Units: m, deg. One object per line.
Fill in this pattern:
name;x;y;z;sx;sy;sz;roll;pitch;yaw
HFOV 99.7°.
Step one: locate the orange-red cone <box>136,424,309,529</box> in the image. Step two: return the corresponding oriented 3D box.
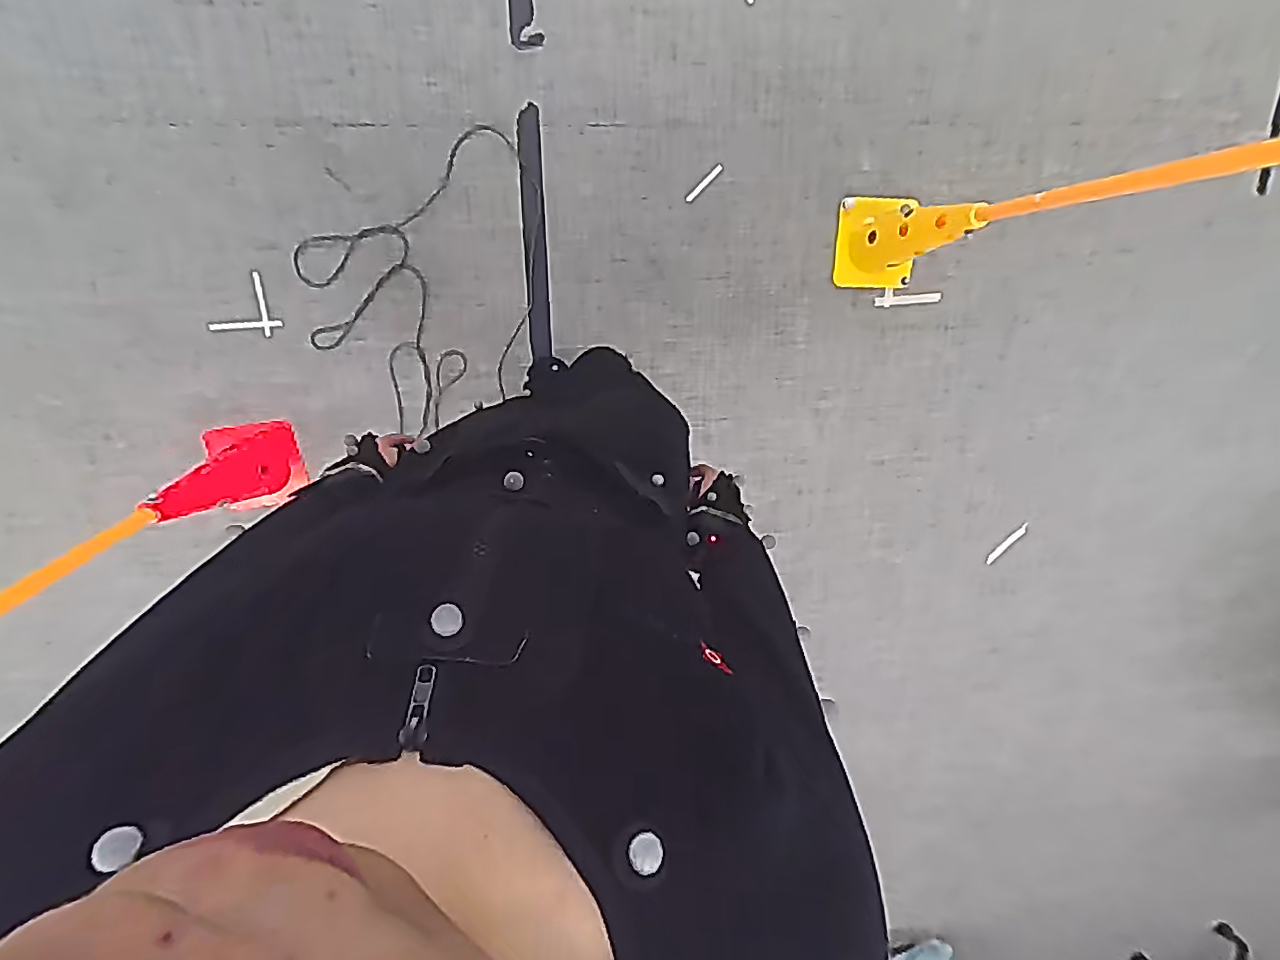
orange-red cone;-0.873;0.019;1.101;0.199;0.360;0.198;-8;107;-6
